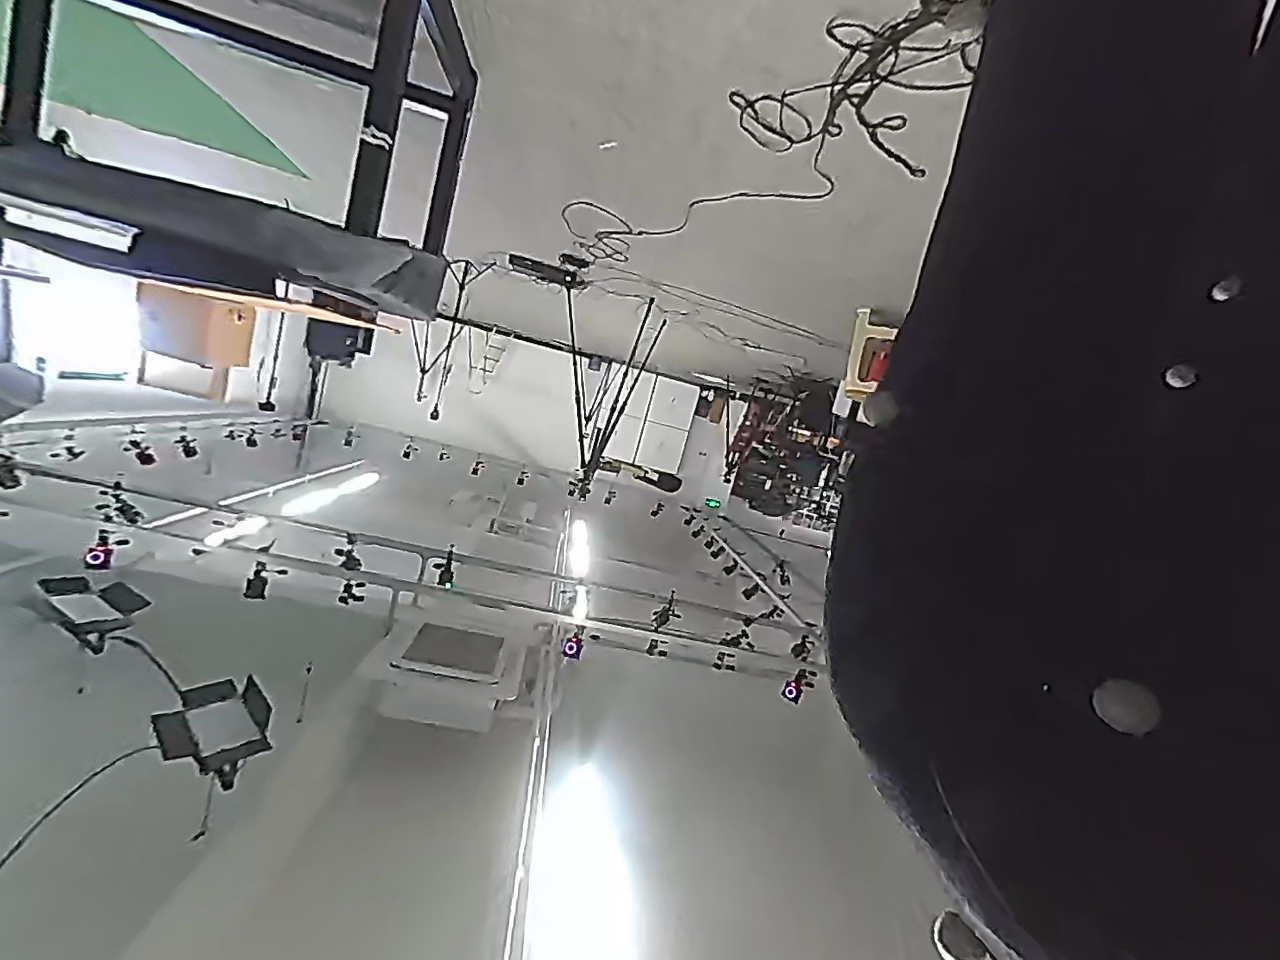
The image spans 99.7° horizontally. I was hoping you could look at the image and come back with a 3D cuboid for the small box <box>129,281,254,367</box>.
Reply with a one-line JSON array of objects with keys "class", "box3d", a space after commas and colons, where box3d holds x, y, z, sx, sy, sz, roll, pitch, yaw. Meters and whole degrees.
[{"class": "small box", "box3d": [-1.113, -0.389, 1.354, 0.179, 0.176, 0.168, 14, -170, -6]}]
